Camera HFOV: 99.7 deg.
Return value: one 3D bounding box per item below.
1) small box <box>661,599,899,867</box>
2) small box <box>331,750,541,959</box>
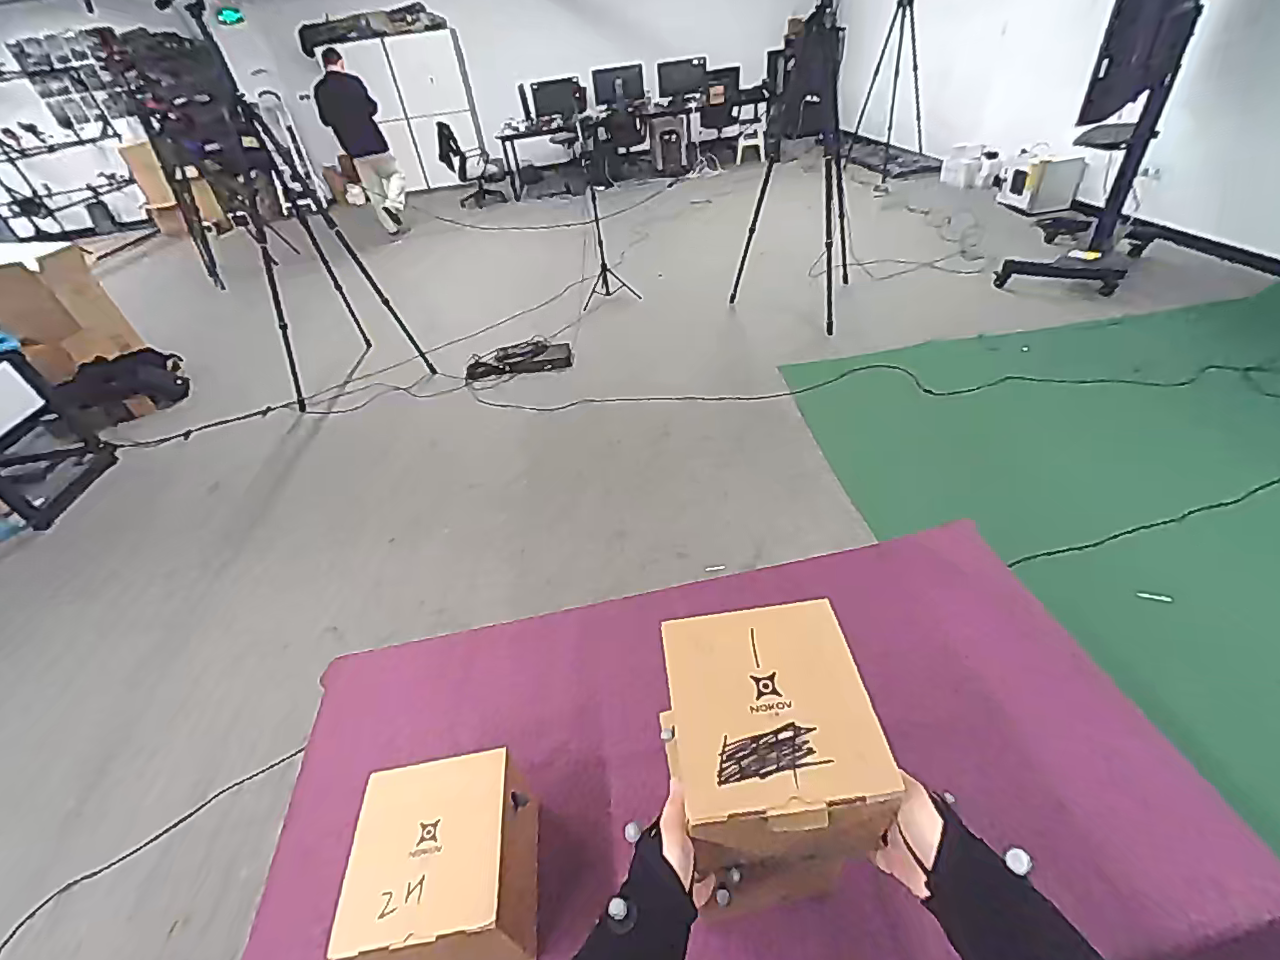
[{"bbox_3d":[0.118,0.244,0.516,0.168,0.176,0.179,-9,40,1],"label":"small box"},{"bbox_3d":[-0.216,0.452,0.629,0.168,0.176,0.179,-11,38,-2],"label":"small box"}]
